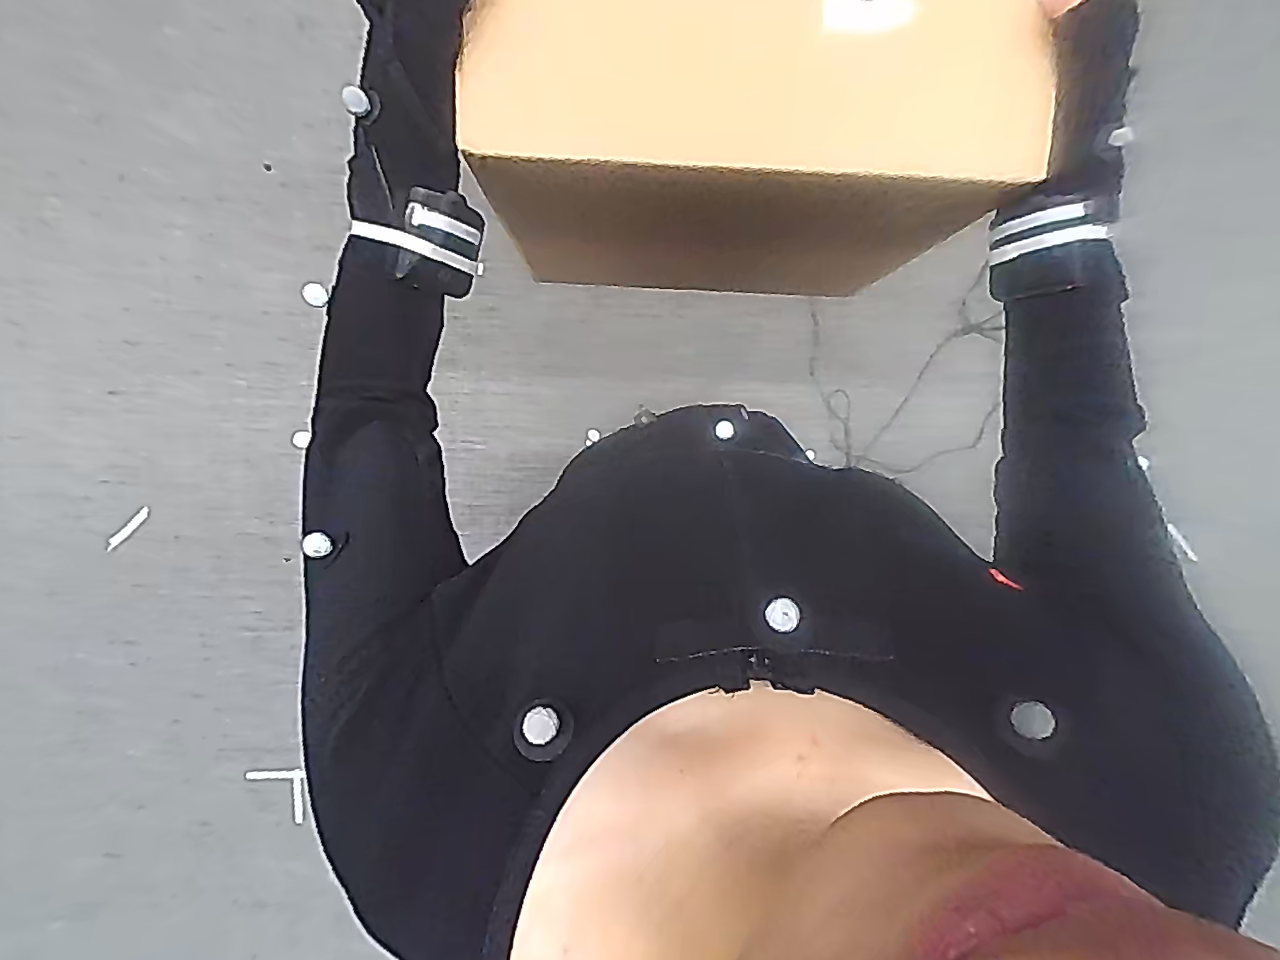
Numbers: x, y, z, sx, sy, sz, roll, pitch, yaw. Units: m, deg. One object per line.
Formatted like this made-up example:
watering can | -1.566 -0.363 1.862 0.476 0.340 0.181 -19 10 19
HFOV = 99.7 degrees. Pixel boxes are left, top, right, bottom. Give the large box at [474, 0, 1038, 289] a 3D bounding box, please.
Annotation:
large box | 0.077 -0.385 0.522 0.408 0.320 0.320 1 94 -3

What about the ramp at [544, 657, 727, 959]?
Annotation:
ramp | -0.009 0.996 1.470 0.509 0.206 0.991 -1 94 0
